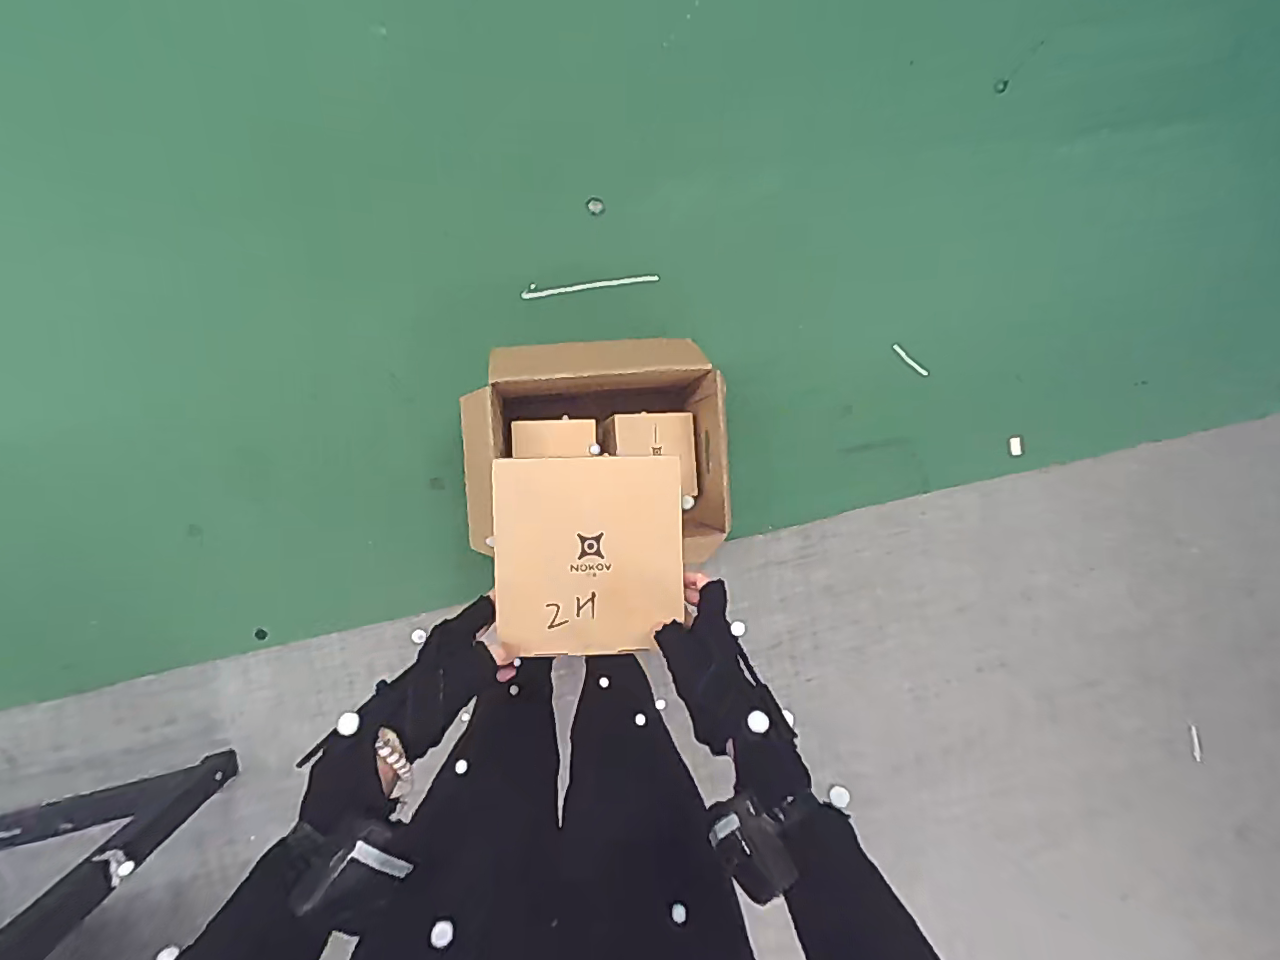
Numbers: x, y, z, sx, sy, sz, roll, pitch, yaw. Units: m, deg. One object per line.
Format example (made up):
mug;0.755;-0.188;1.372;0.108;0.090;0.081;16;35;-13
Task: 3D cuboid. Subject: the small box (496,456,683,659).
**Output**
small box;-0.050;0.068;0.553;0.168;0.176;0.179;-1;90;-4
